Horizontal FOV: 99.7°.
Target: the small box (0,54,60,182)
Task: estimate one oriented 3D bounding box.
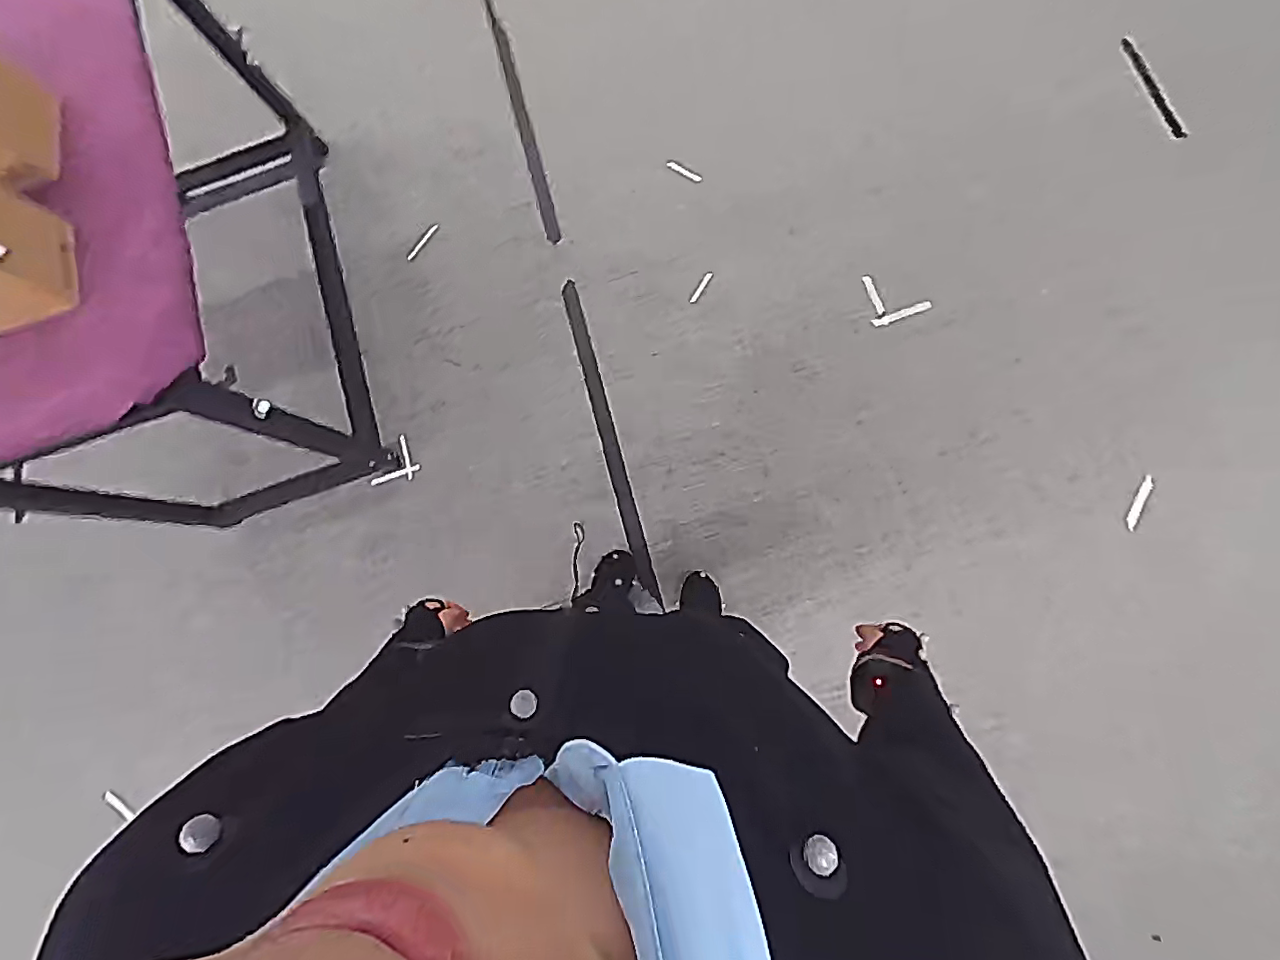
[{"bbox_3d":[-1.150,-0.635,0.916,0.168,0.176,0.179,-9,80,3],"label":"small box"}]
